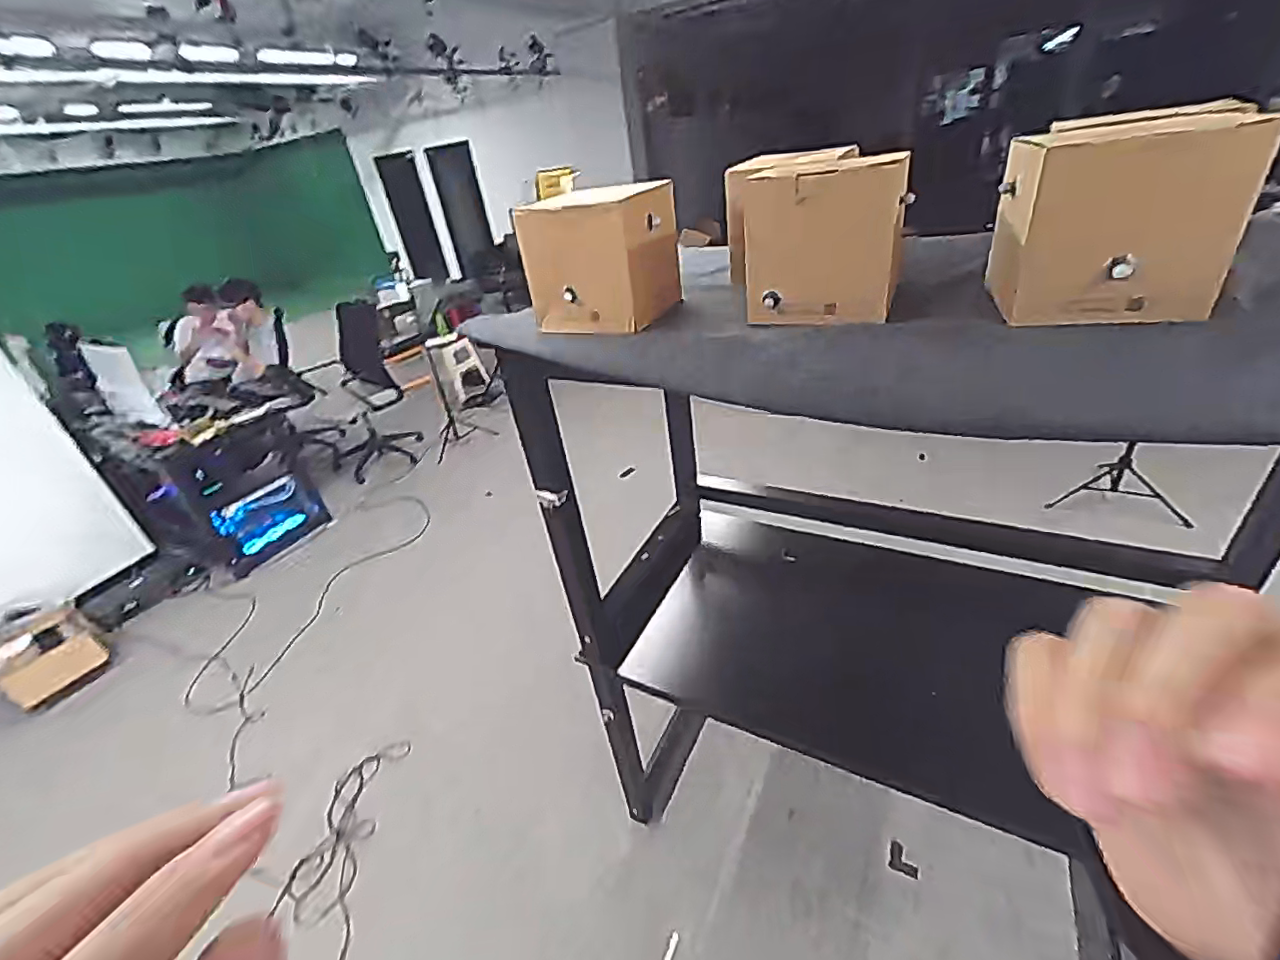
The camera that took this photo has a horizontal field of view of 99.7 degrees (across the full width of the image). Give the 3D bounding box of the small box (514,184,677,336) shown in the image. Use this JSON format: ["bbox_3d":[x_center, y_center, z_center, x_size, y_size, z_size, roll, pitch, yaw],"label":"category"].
[{"bbox_3d":[-0.052,-0.319,0.785,0.168,0.176,0.179,7,36,24],"label":"small box"}]

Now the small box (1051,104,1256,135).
[{"bbox_3d":[0.625,-0.376,0.708,0.179,0.176,0.168,11,36,29],"label":"small box"}]

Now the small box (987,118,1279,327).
[{"bbox_3d":[0.487,-0.271,0.573,0.168,0.176,0.179,4,34,21],"label":"small box"}]
